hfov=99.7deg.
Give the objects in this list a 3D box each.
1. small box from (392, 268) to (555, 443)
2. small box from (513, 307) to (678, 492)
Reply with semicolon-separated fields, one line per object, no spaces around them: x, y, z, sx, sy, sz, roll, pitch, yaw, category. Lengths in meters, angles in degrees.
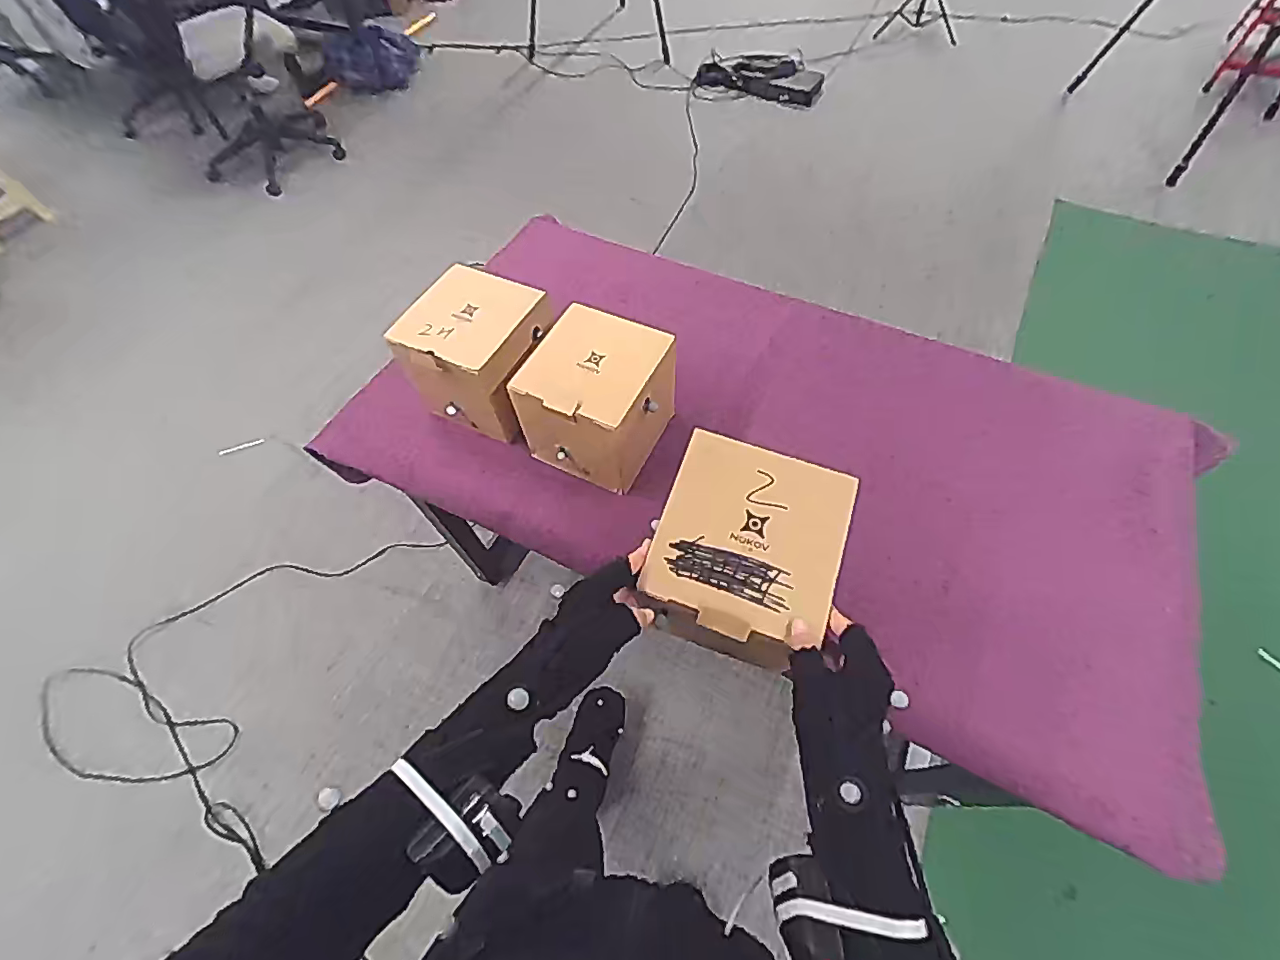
-0.240;-0.192;0.848;0.168;0.176;0.179;22;63;16;small box
-0.056;-0.114;0.794;0.168;0.176;0.179;23;64;16;small box
